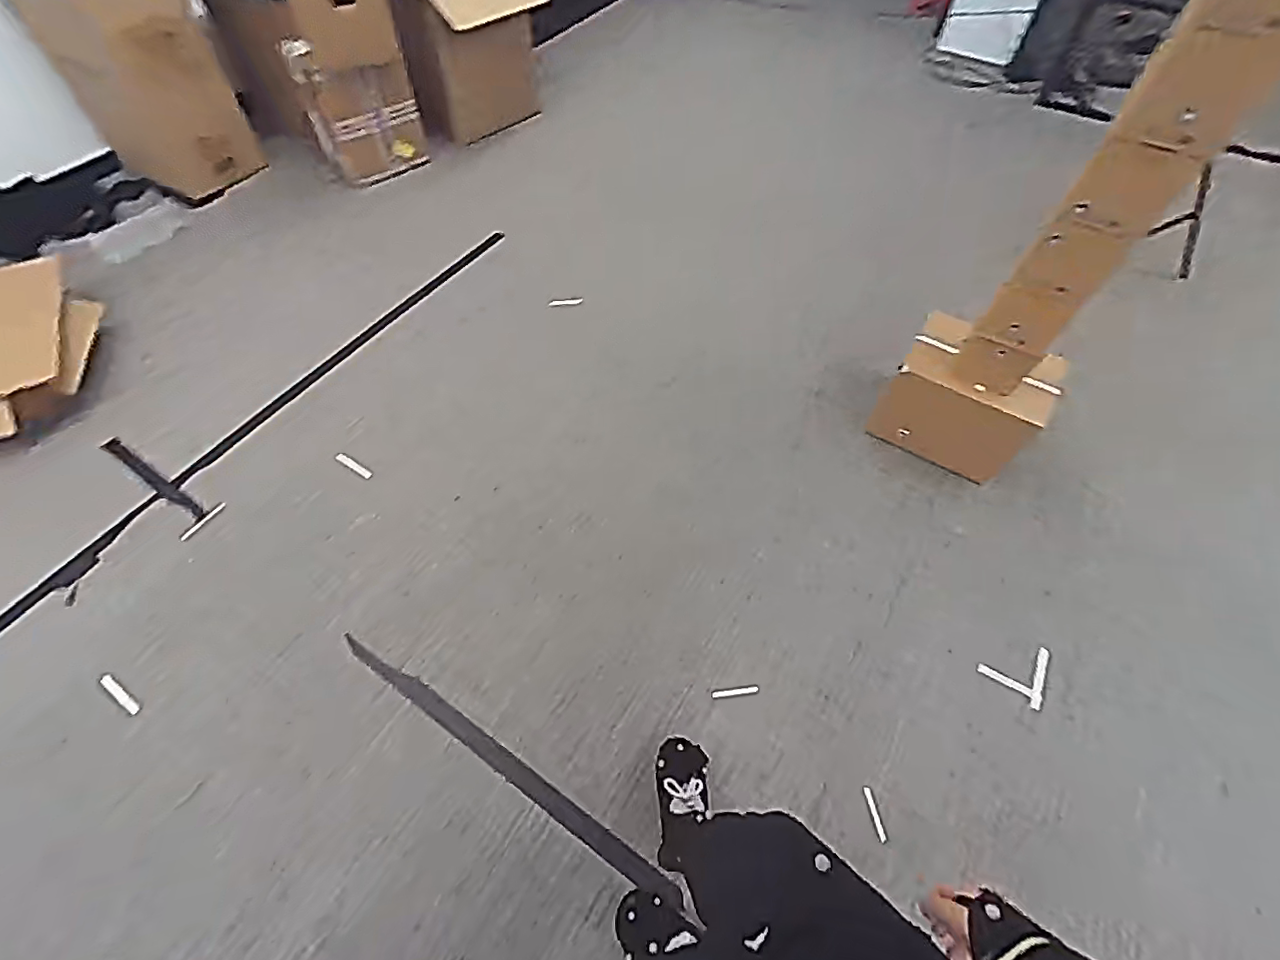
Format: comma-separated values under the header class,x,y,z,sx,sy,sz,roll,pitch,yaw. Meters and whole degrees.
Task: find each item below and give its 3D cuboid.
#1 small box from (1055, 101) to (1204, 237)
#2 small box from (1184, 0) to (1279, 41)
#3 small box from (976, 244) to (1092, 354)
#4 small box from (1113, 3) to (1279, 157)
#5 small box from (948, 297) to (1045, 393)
class,x,y,z,sx,sy,sz,roll,pitch,yaw
small box,0.991,-0.628,1.096,0.168,0.176,0.179,30,63,17
small box,0.986,-0.804,0.819,0.168,0.176,0.179,26,63,16
small box,0.995,-0.457,1.376,0.168,0.176,0.179,28,63,17
small box,0.989,-0.713,0.956,0.168,0.176,0.179,27,63,17
small box,1.003,-0.375,1.516,0.179,0.176,0.168,27,63,15
